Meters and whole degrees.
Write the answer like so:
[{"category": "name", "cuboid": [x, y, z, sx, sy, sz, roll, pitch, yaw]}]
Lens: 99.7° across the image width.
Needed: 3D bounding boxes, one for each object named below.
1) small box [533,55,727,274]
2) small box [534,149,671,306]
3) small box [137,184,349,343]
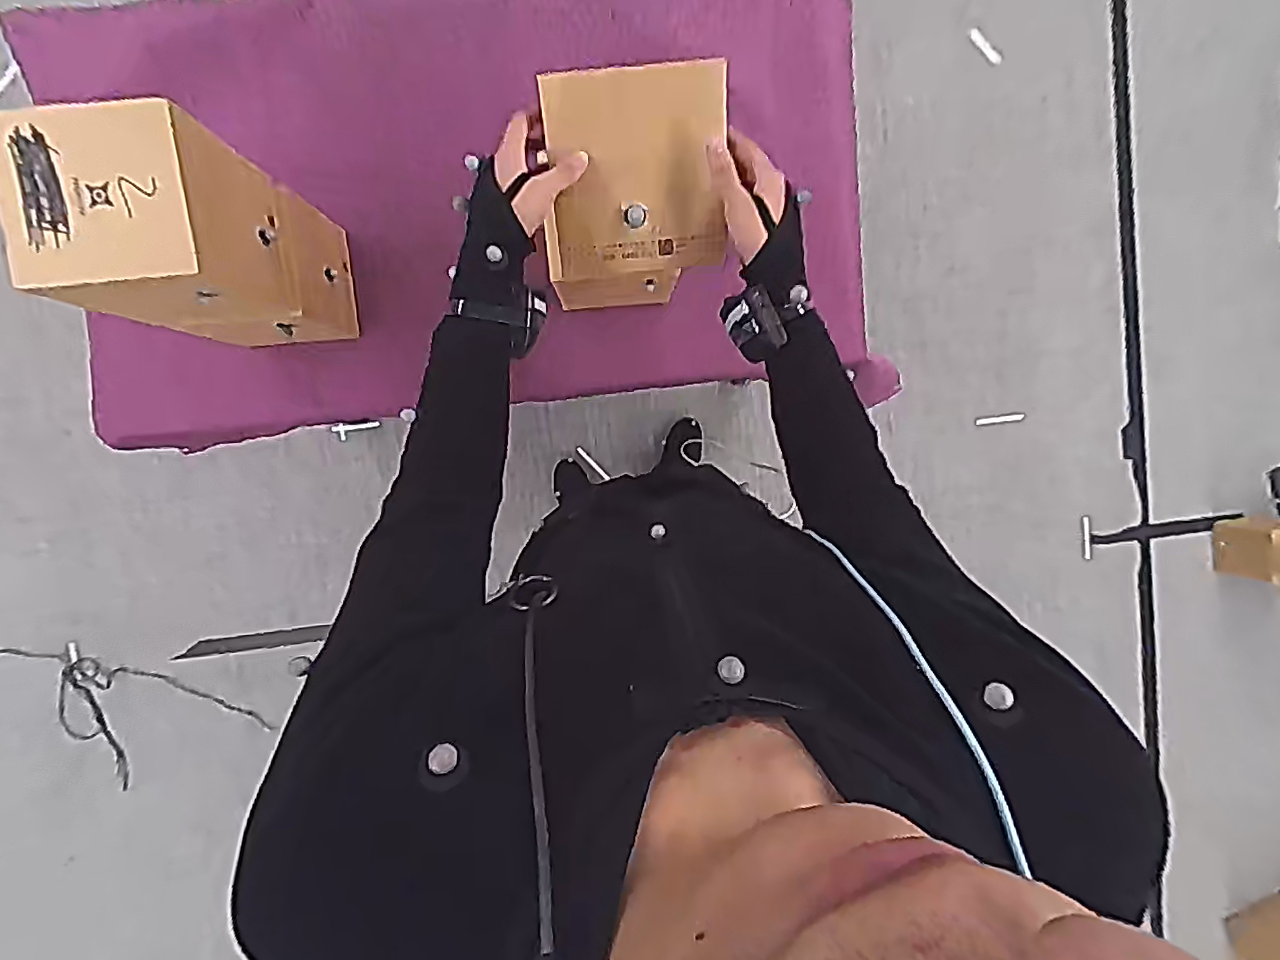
[{"category": "small box", "cuboid": [-0.007, -0.316, 0.562, 0.168, 0.179, 0.176, -6, 120, 0]}, {"category": "small box", "cuboid": [-0.048, -0.356, 0.781, 0.179, 0.176, 0.168, -6, 96, -3]}, {"category": "small box", "cuboid": [-0.531, -0.290, 0.755, 0.179, 0.176, 0.168, -5, 95, -3]}]
